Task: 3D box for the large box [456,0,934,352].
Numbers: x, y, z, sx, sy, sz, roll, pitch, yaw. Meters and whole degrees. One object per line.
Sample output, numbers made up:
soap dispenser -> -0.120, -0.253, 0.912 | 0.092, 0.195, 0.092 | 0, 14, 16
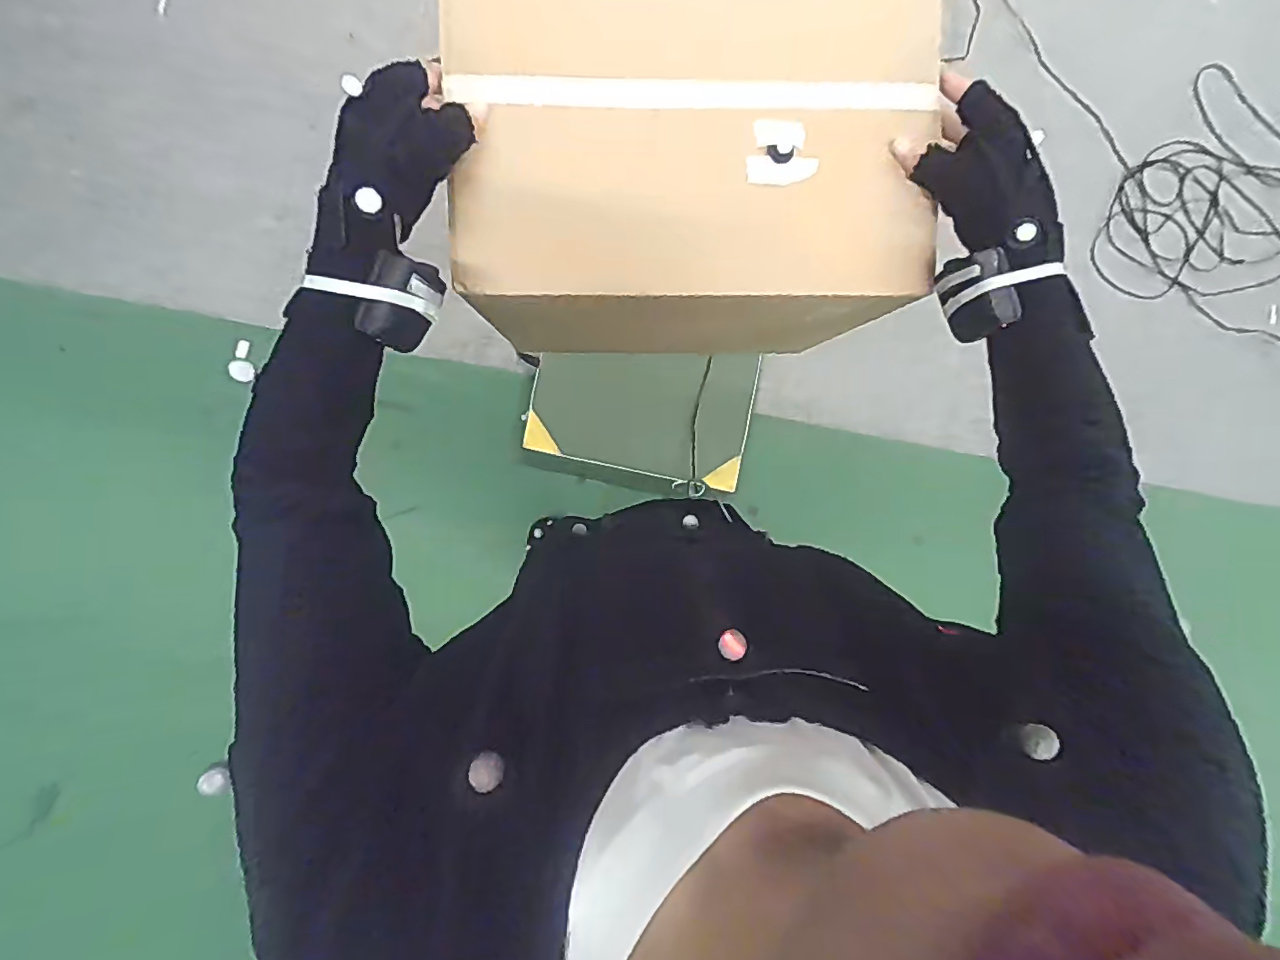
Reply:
large box -> 0.040, -0.326, 0.599 | 0.408, 0.320, 0.320 | -1, 95, -4
